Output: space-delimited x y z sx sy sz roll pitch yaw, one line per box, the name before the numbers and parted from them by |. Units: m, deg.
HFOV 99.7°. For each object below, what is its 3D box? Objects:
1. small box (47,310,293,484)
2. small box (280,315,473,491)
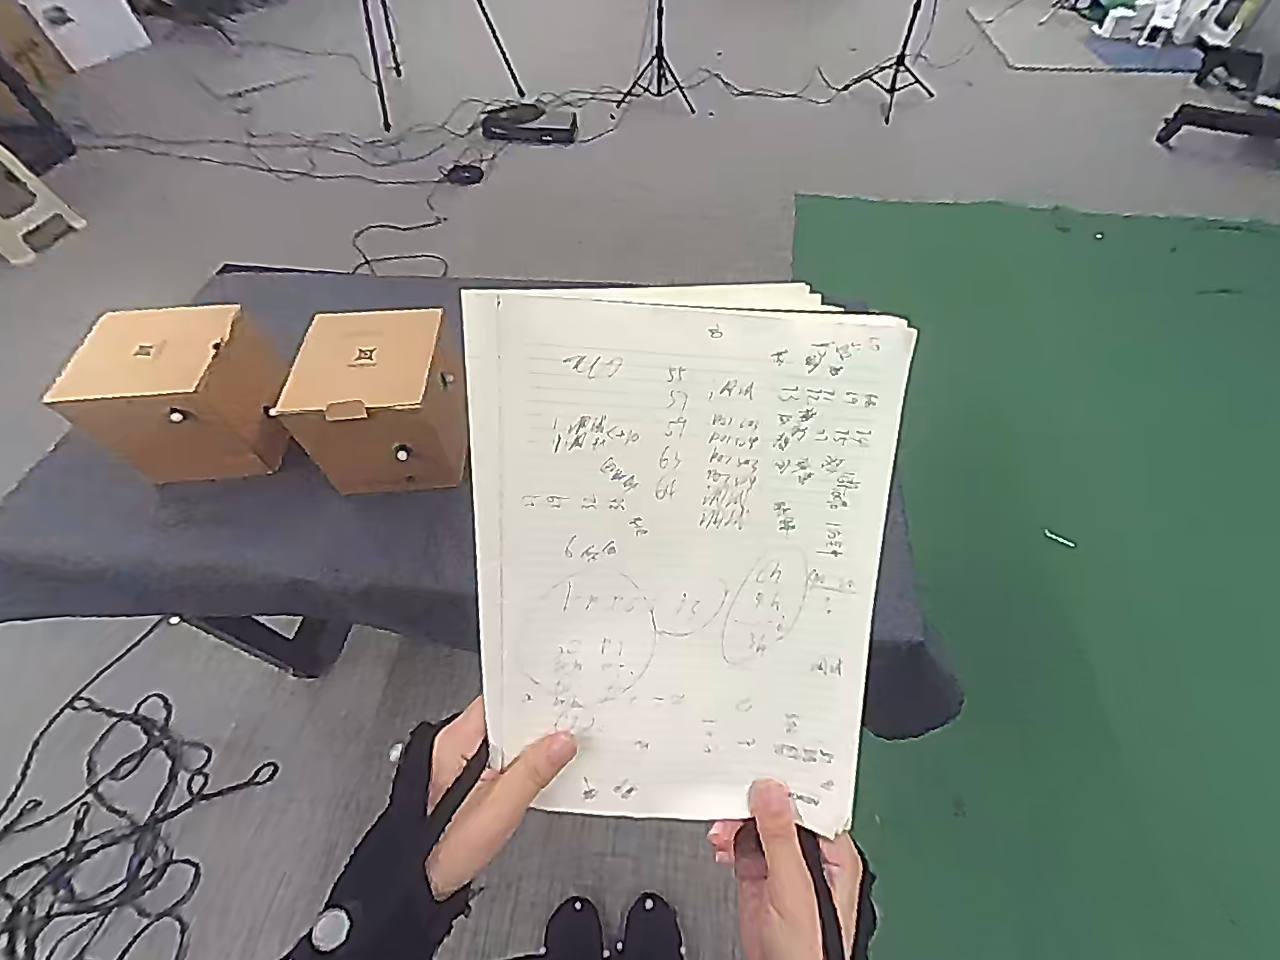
small box | -0.604 -0.107 0.737 0.179 0.176 0.168 -4 54 -3
small box | -0.332 -0.095 0.725 0.168 0.176 0.179 -3 53 -3
